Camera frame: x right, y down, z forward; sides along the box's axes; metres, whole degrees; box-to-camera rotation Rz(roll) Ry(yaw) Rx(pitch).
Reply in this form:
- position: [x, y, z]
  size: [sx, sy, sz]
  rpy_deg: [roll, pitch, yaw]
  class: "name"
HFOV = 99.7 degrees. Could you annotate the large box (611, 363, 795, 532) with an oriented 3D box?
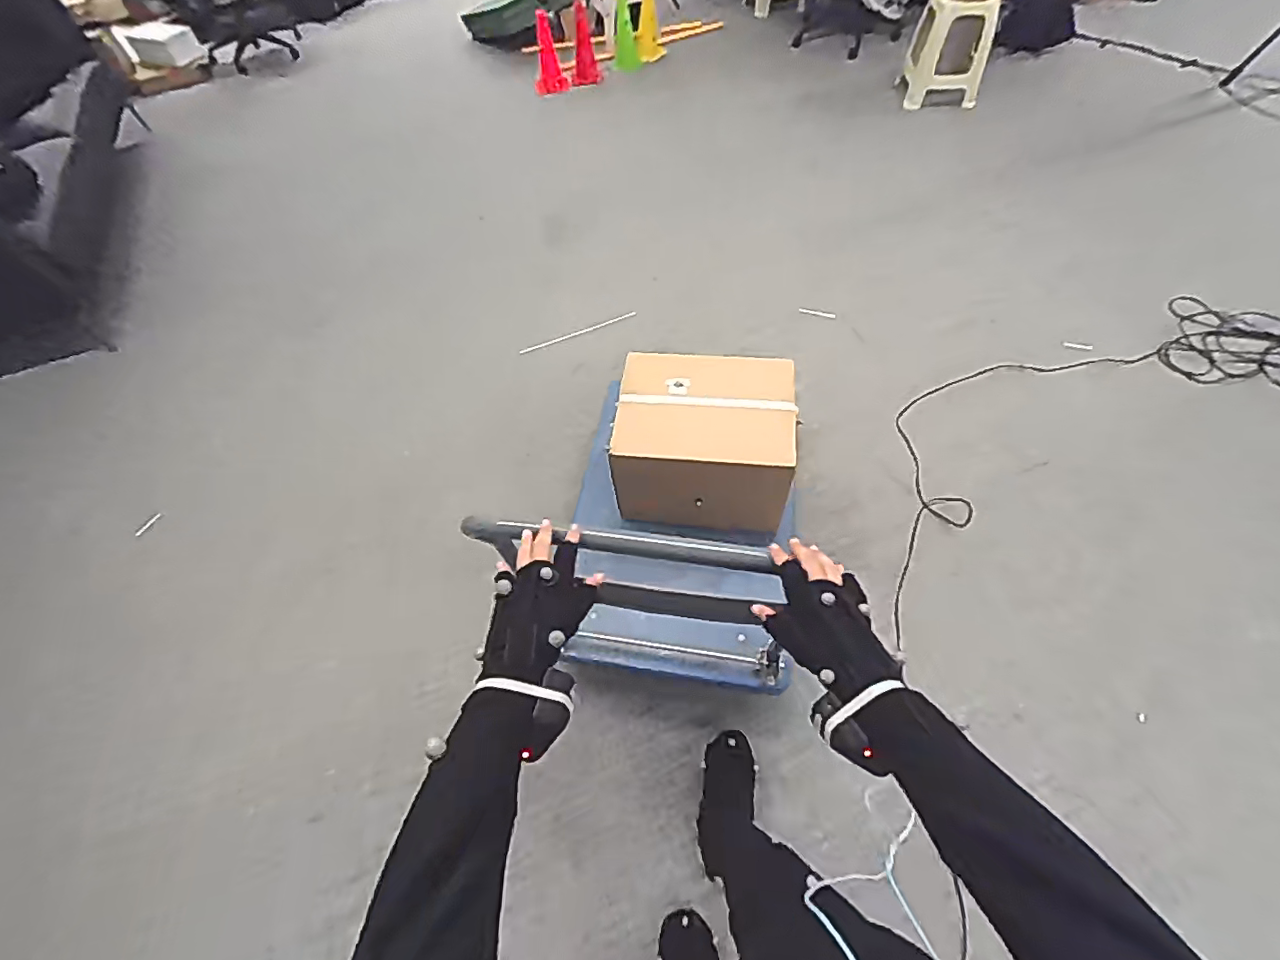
- position: [0.163, -0.077, 1.369]
  size: [0.408, 0.320, 0.320]
  rpy_deg: [3, 57, 8]
  class: "large box"
